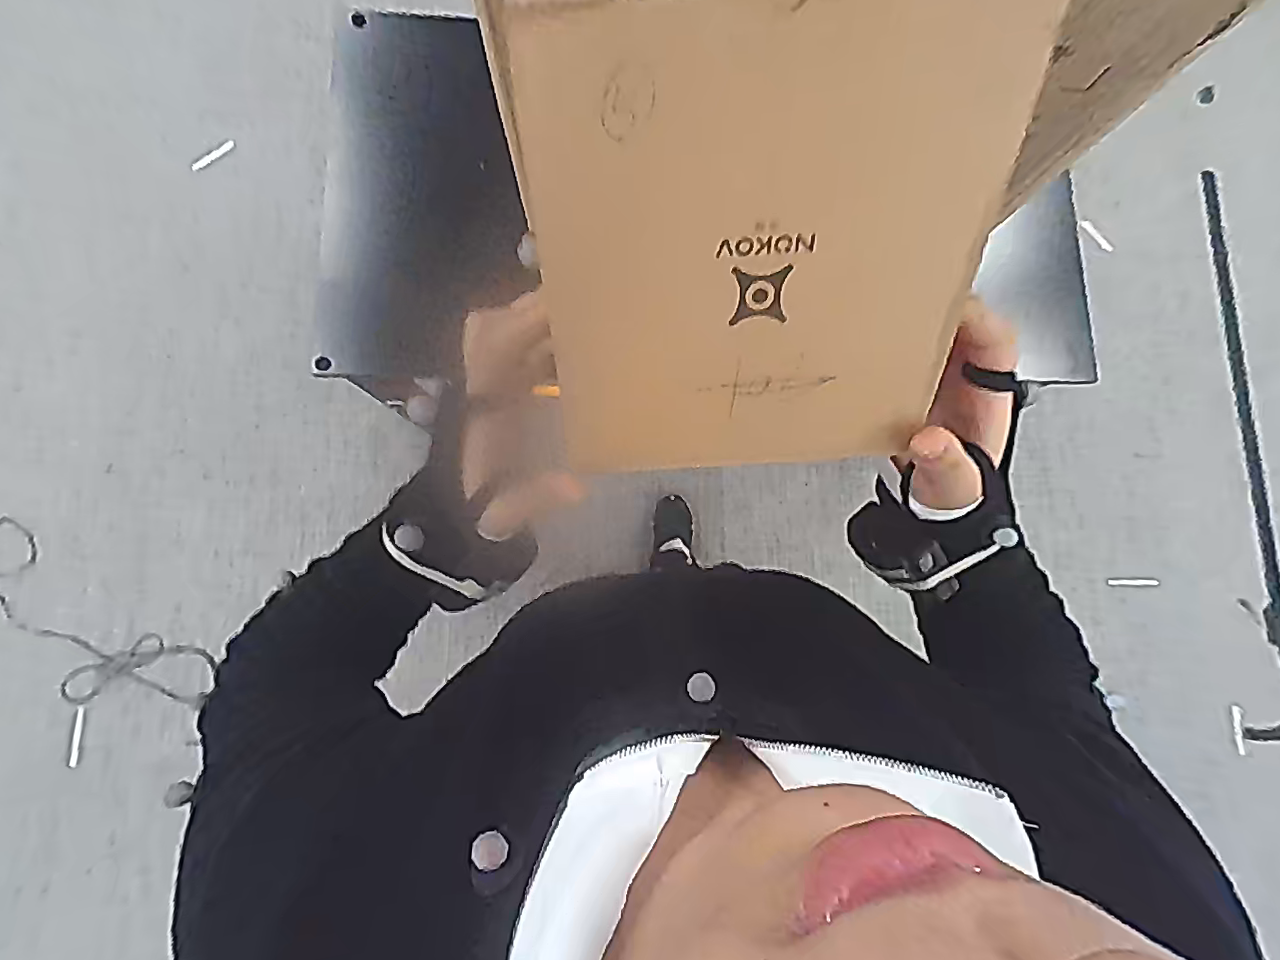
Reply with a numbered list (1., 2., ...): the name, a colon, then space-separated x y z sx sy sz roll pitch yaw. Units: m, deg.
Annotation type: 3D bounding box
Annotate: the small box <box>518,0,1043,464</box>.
1. small box: 0.042 -0.130 0.276 0.168 0.179 0.176 -3 39 0
